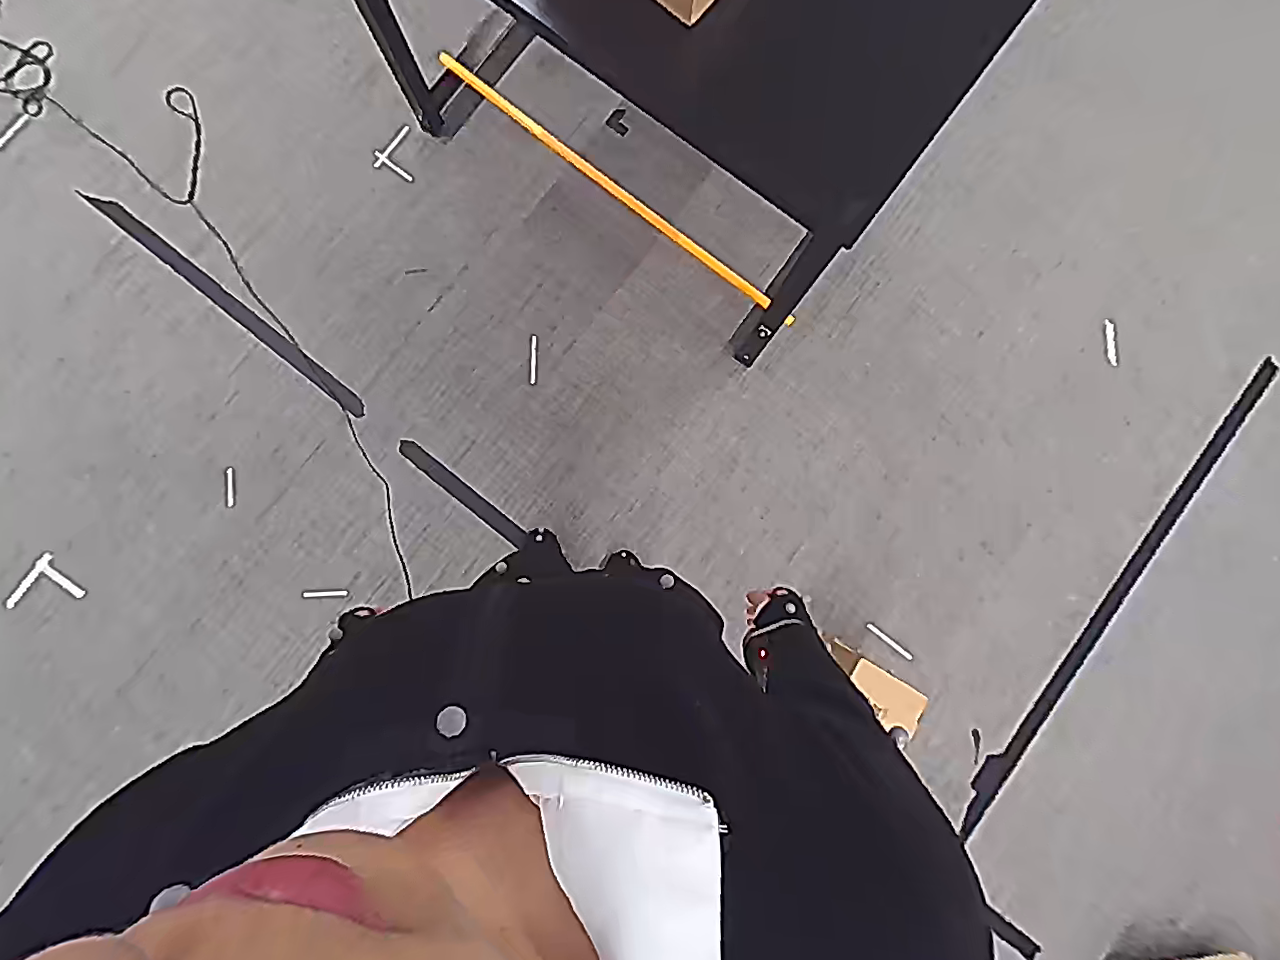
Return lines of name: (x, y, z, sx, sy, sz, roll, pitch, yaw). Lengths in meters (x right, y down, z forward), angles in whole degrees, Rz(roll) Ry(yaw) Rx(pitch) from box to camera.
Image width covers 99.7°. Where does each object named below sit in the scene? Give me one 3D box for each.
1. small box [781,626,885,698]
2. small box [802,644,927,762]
small box: (0.494, 0.504, 1.407, 0.168, 0.176, 0.179, 34, 86, 2)
small box: (0.506, 0.499, 1.244, 0.179, 0.176, 0.168, 31, 85, 2)
